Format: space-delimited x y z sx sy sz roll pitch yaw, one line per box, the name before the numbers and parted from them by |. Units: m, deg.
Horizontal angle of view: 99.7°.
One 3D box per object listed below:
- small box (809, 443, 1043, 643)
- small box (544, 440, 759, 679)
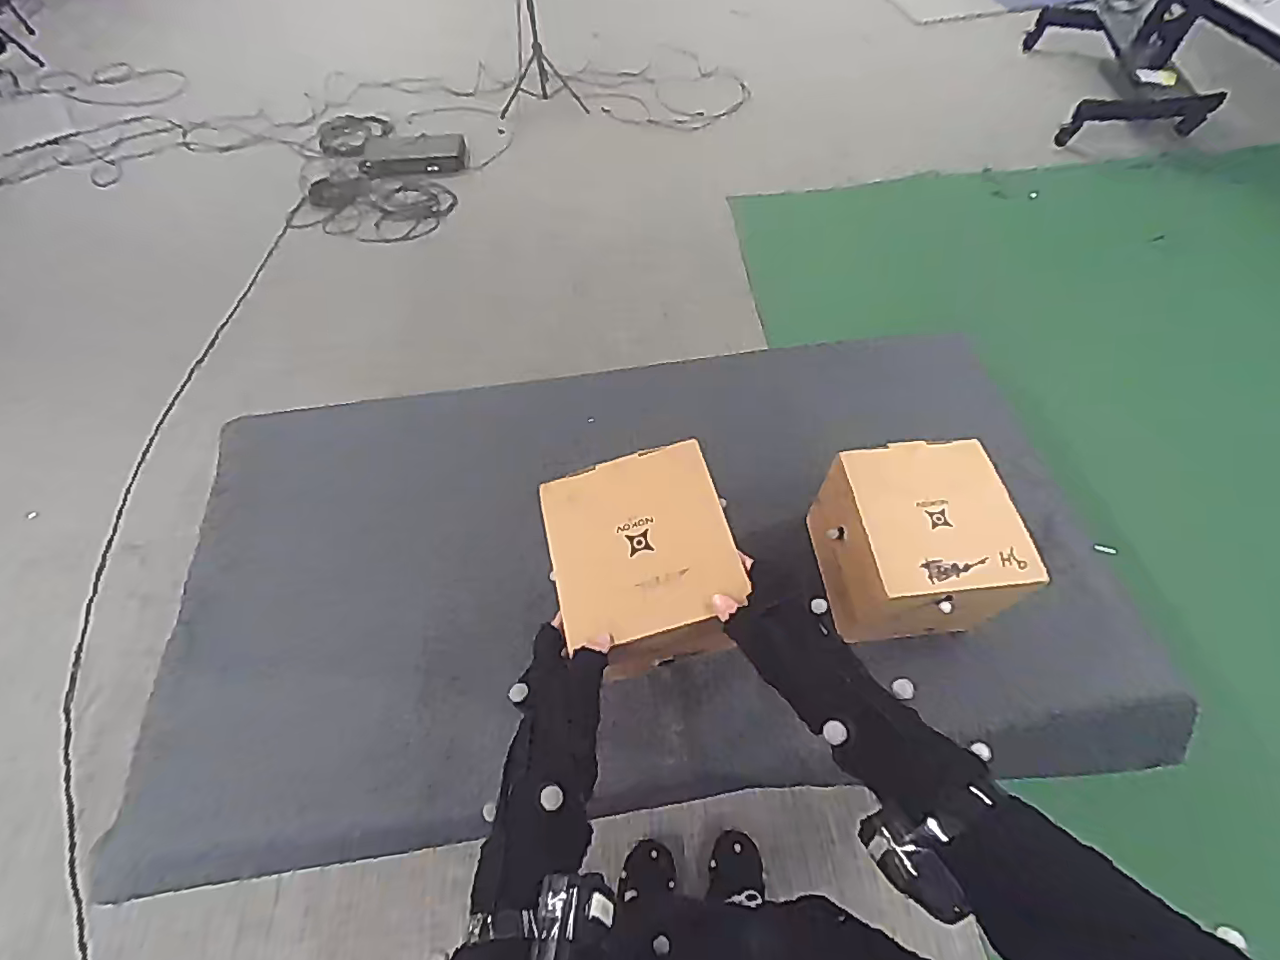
small box | 0.316 0.079 0.646 0.168 0.176 0.179 -6 58 0
small box | 0.013 0.090 0.563 0.168 0.176 0.179 -17 62 1
